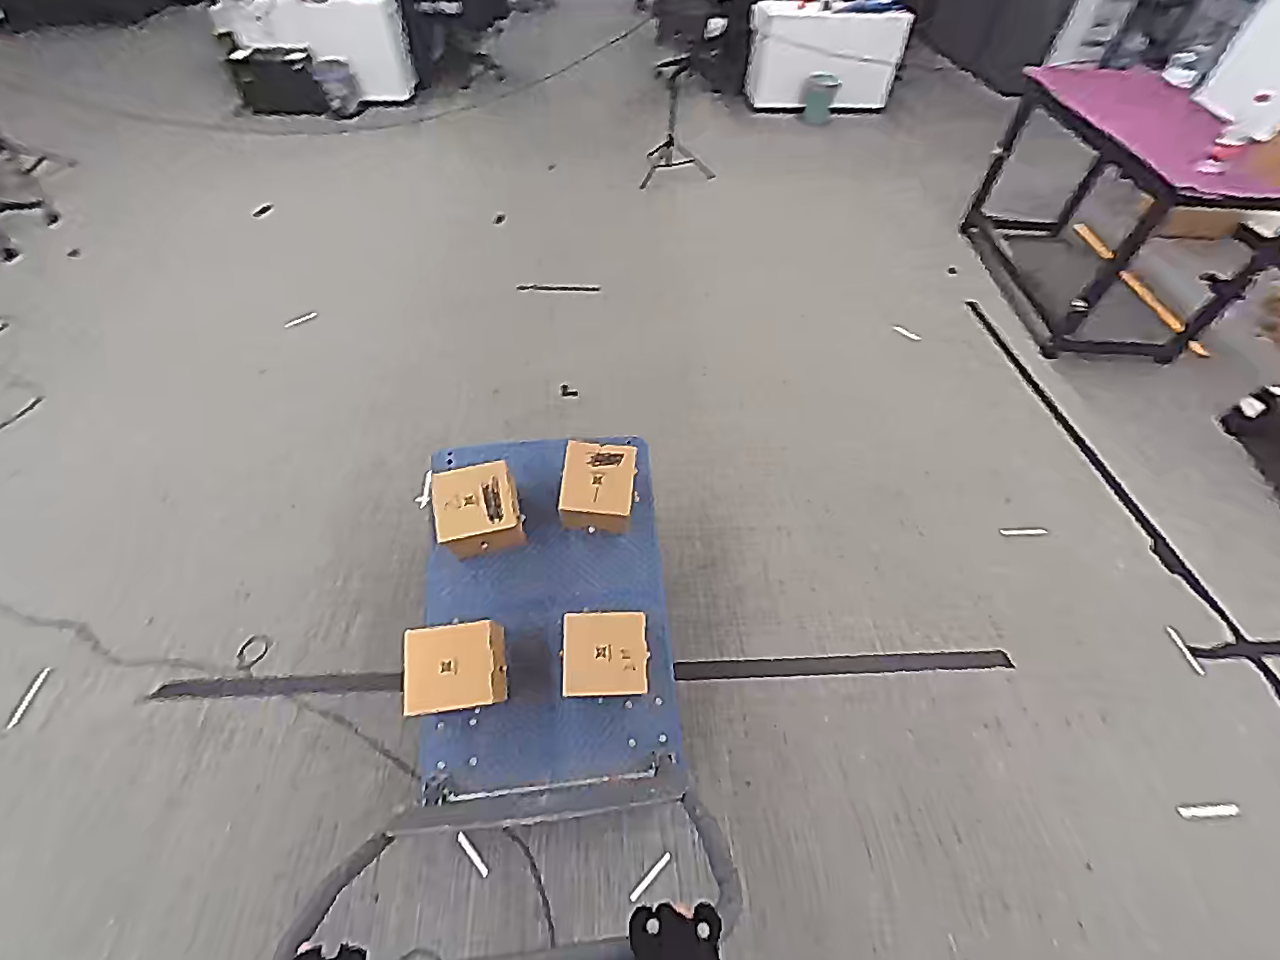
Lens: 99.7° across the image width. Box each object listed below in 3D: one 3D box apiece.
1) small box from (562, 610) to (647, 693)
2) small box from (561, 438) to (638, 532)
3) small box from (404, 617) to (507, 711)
[{"bbox_3d":[-0.076,0.383,1.198,0.179,0.176,0.168,0,70,-4],"label":"small box"},{"bbox_3d":[-0.099,0.017,1.335,0.168,0.176,0.179,6,70,-2],"label":"small box"},{"bbox_3d":[-0.392,0.400,1.168,0.179,0.176,0.168,-6,70,-8],"label":"small box"}]
